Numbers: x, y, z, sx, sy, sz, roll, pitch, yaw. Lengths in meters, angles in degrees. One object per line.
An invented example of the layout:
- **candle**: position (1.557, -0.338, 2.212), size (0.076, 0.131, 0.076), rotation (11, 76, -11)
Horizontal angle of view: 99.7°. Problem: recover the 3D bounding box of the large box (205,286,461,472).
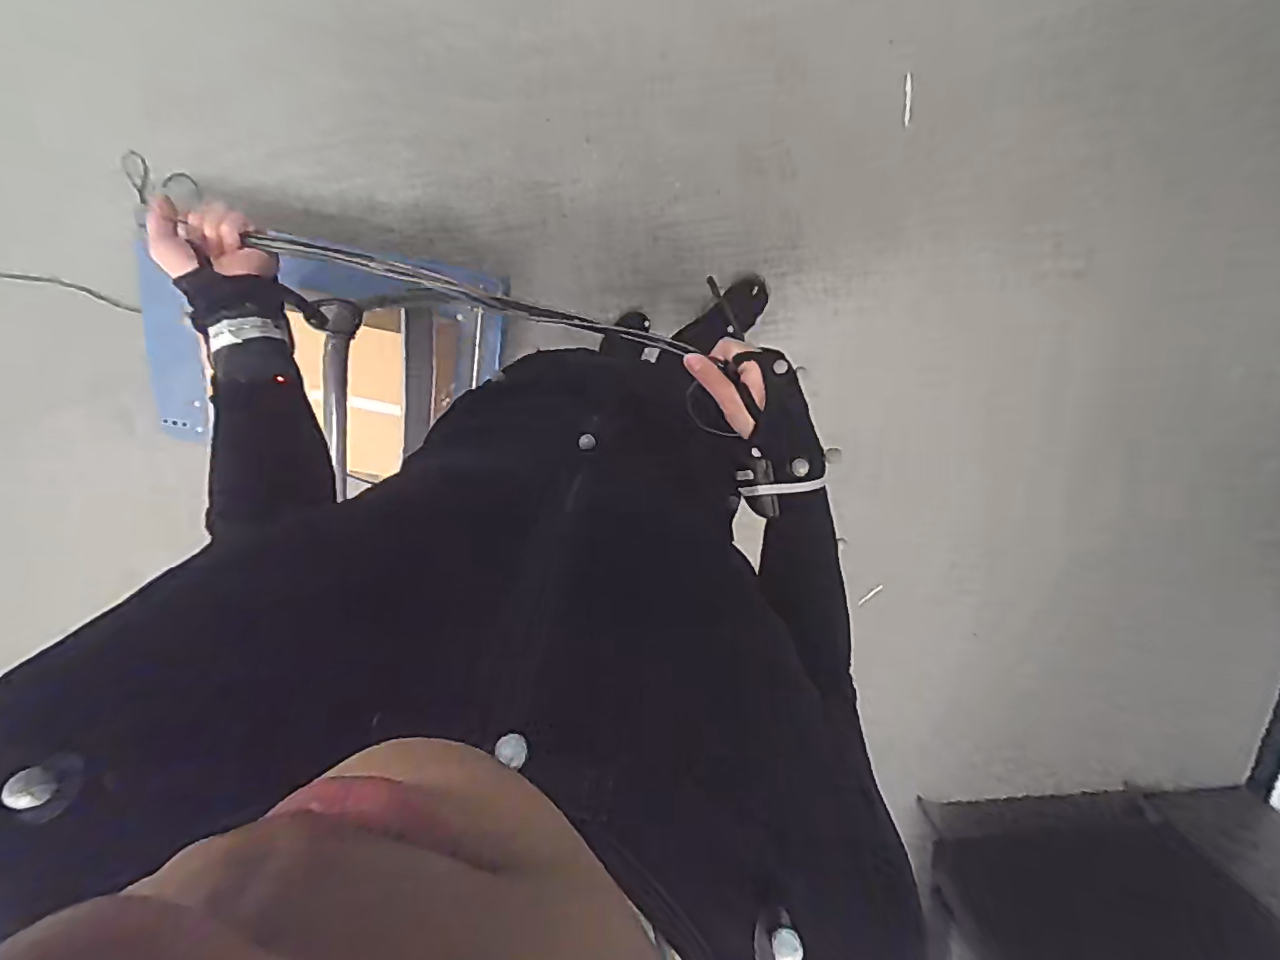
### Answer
- **large box**: position (-0.657, -0.241, 1.229), size (0.408, 0.320, 0.320), rotation (11, 111, -3)
